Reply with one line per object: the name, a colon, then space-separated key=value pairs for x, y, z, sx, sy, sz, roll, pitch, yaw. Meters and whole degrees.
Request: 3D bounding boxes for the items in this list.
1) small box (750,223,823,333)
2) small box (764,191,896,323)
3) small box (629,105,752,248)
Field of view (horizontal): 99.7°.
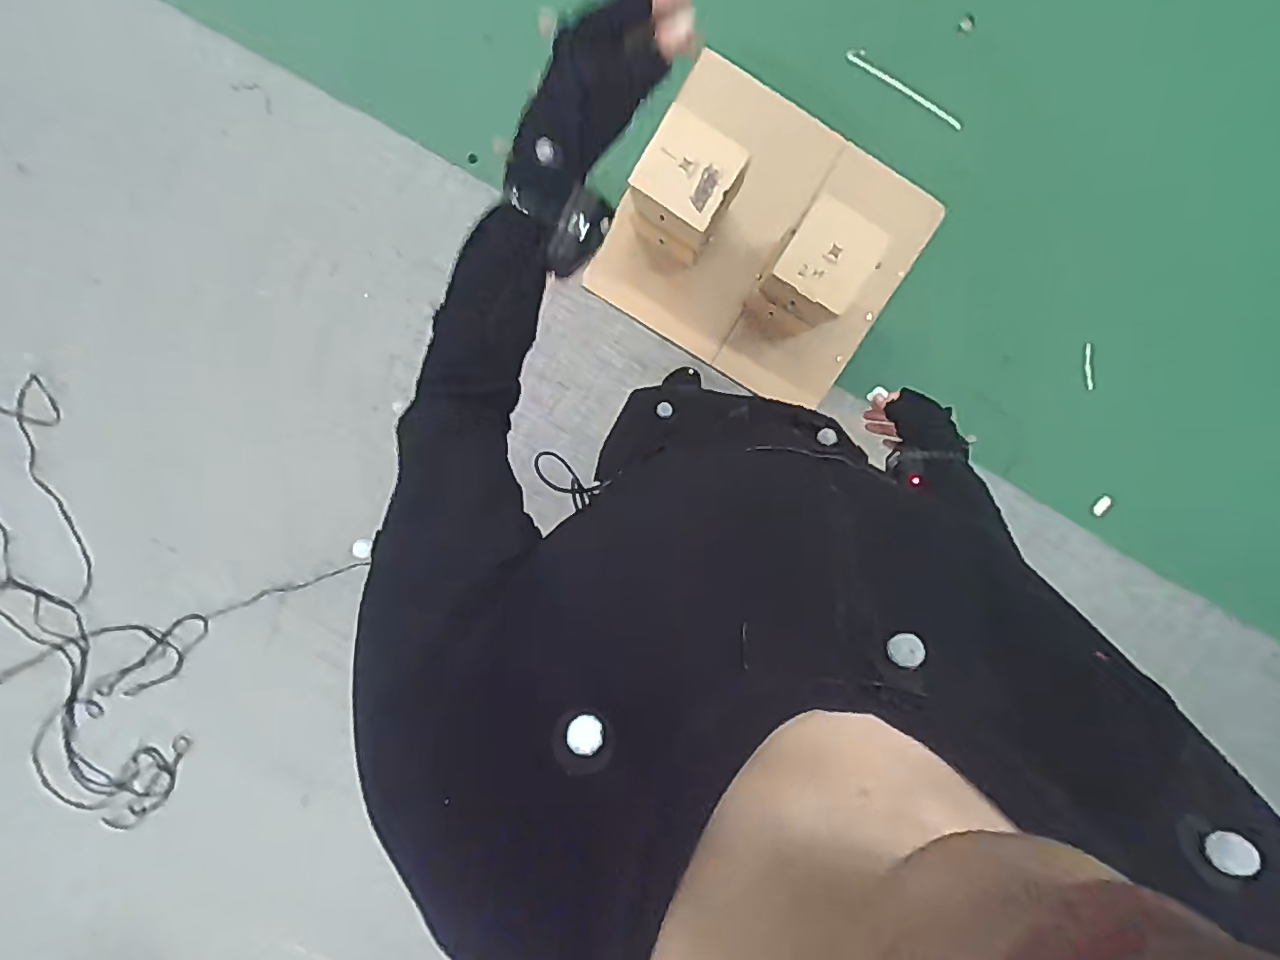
small box: x=0.376 y=-0.465 z=1.270 sx=0.168 sy=0.176 sz=0.179 roll=29 pitch=102 yaw=-3
small box: x=0.374 y=-0.442 z=1.106 sx=0.168 sy=0.176 sz=0.179 roll=31 pitch=101 yaw=-3
small box: x=0.100 y=-0.593 z=1.088 sx=0.179 sy=0.176 sz=0.168 roll=34 pitch=101 yaw=-1
